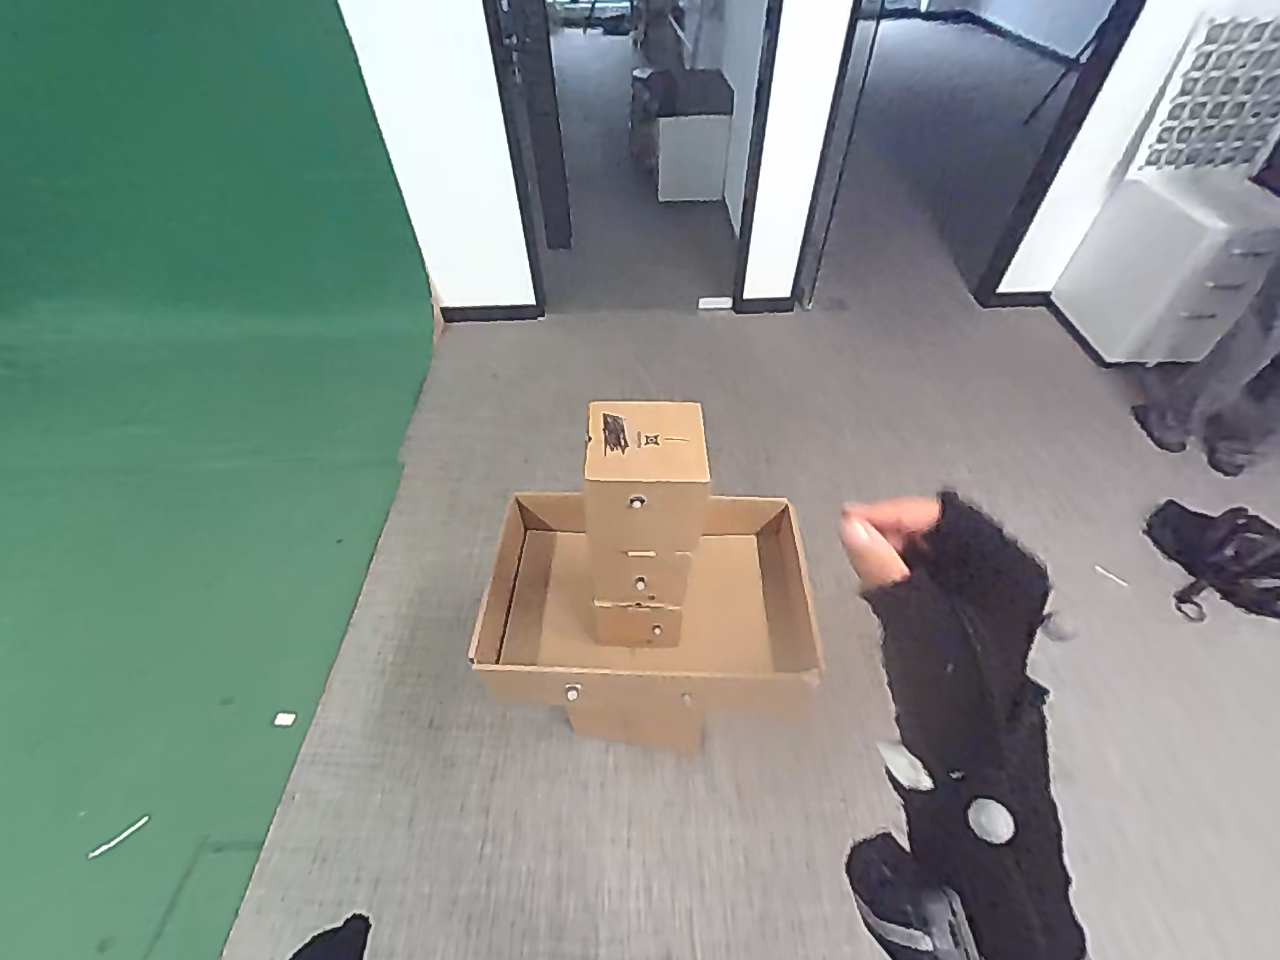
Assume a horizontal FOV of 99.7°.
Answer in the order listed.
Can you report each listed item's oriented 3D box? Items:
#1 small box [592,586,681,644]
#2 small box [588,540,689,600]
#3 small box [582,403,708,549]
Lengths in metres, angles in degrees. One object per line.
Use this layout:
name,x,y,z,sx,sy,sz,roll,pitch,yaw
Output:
small box,-0.004,0.218,1.094,0.168,0.176,0.179,2,47,0
small box,0.001,0.104,0.977,0.168,0.176,0.179,2,49,0
small box,0.005,-0.003,0.851,0.179,0.176,0.168,1,49,-2
